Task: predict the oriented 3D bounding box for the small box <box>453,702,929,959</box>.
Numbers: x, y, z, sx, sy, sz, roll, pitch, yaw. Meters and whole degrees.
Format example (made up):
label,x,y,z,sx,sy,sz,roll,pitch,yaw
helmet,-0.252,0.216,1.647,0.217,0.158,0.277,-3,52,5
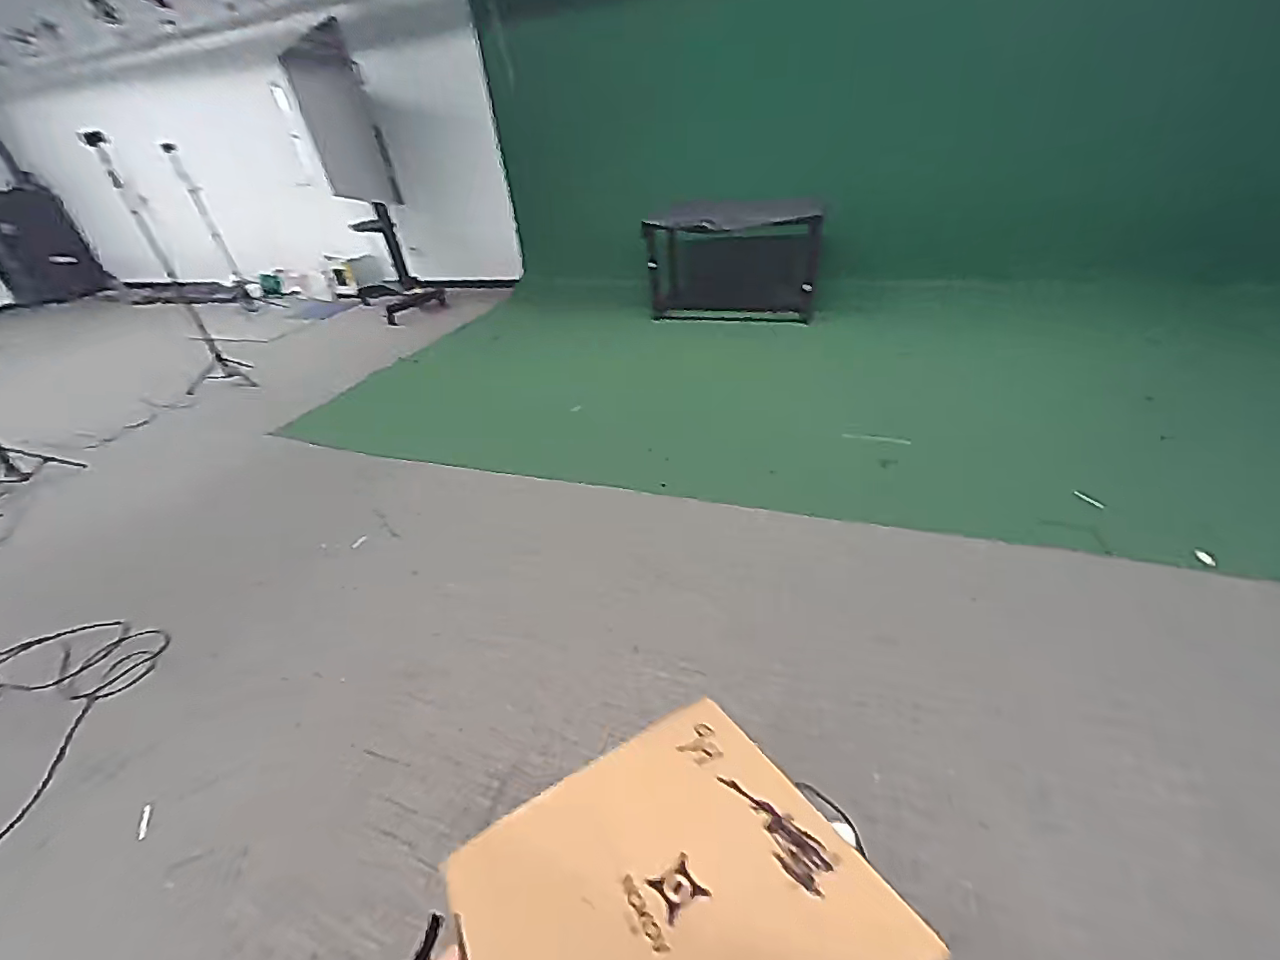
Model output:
label,x,y,z,sx,sy,sz,roll,pitch,yaw
small box,0.026,0.269,0.288,0.179,0.176,0.168,-22,26,-22
